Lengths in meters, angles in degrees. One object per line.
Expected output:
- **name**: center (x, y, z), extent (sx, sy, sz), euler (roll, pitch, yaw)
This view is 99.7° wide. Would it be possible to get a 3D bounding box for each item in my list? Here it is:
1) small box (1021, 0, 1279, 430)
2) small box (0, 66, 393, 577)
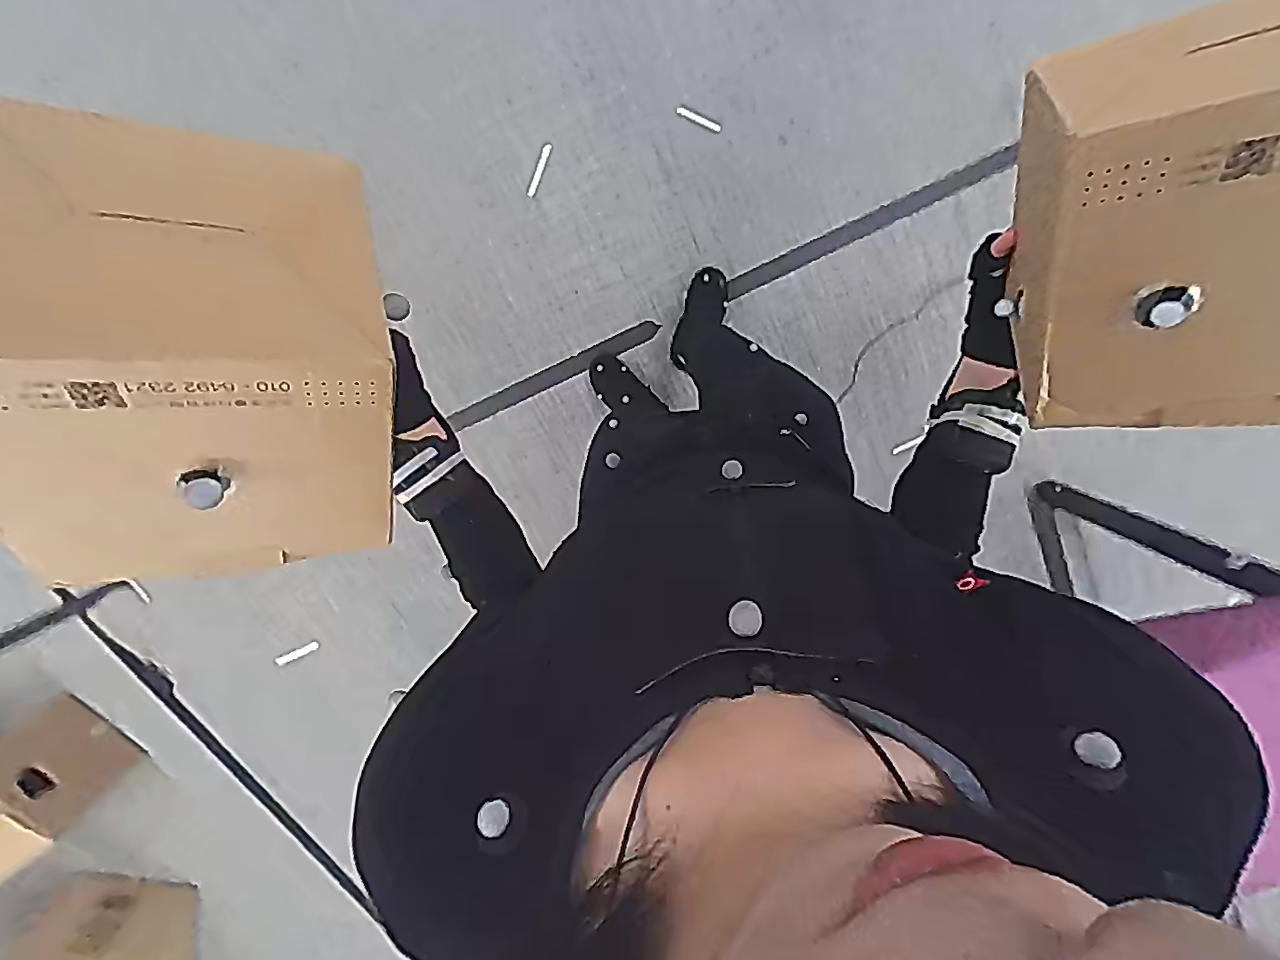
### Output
- **small box**: center (0.319, -0.146, 0.286), extent (0.168, 0.179, 0.176), euler (2, 134, 27)
- **small box**: center (-0.229, -0.075, 0.286), extent (0.168, 0.179, 0.176), euler (-4, 145, -29)
